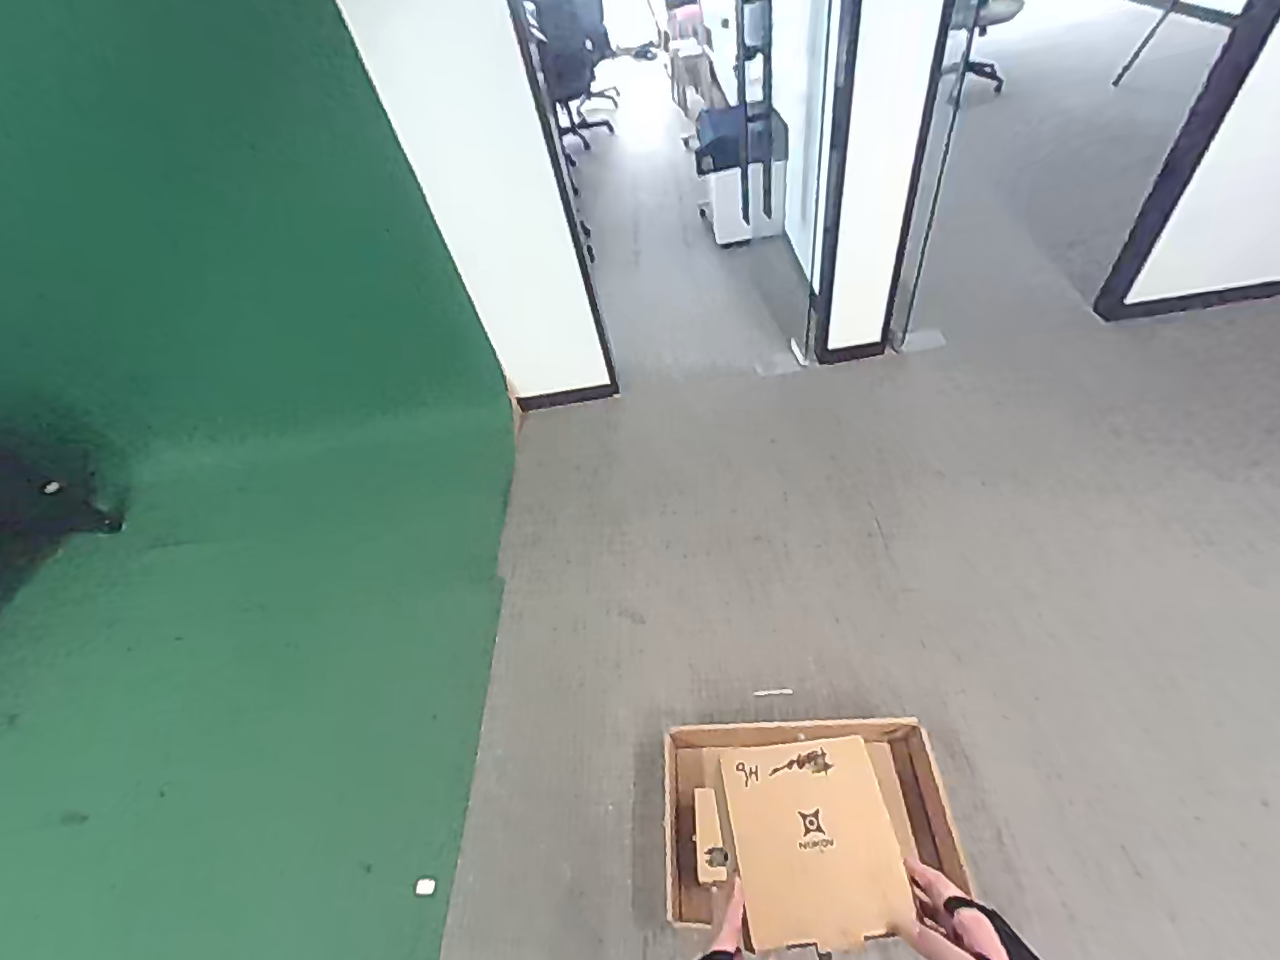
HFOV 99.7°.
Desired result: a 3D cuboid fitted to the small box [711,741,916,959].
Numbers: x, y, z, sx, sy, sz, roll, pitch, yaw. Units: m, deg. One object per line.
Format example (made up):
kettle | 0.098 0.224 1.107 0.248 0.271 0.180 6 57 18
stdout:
small box | 0.175 0.416 0.612 0.168 0.176 0.179 -6 50 -1
